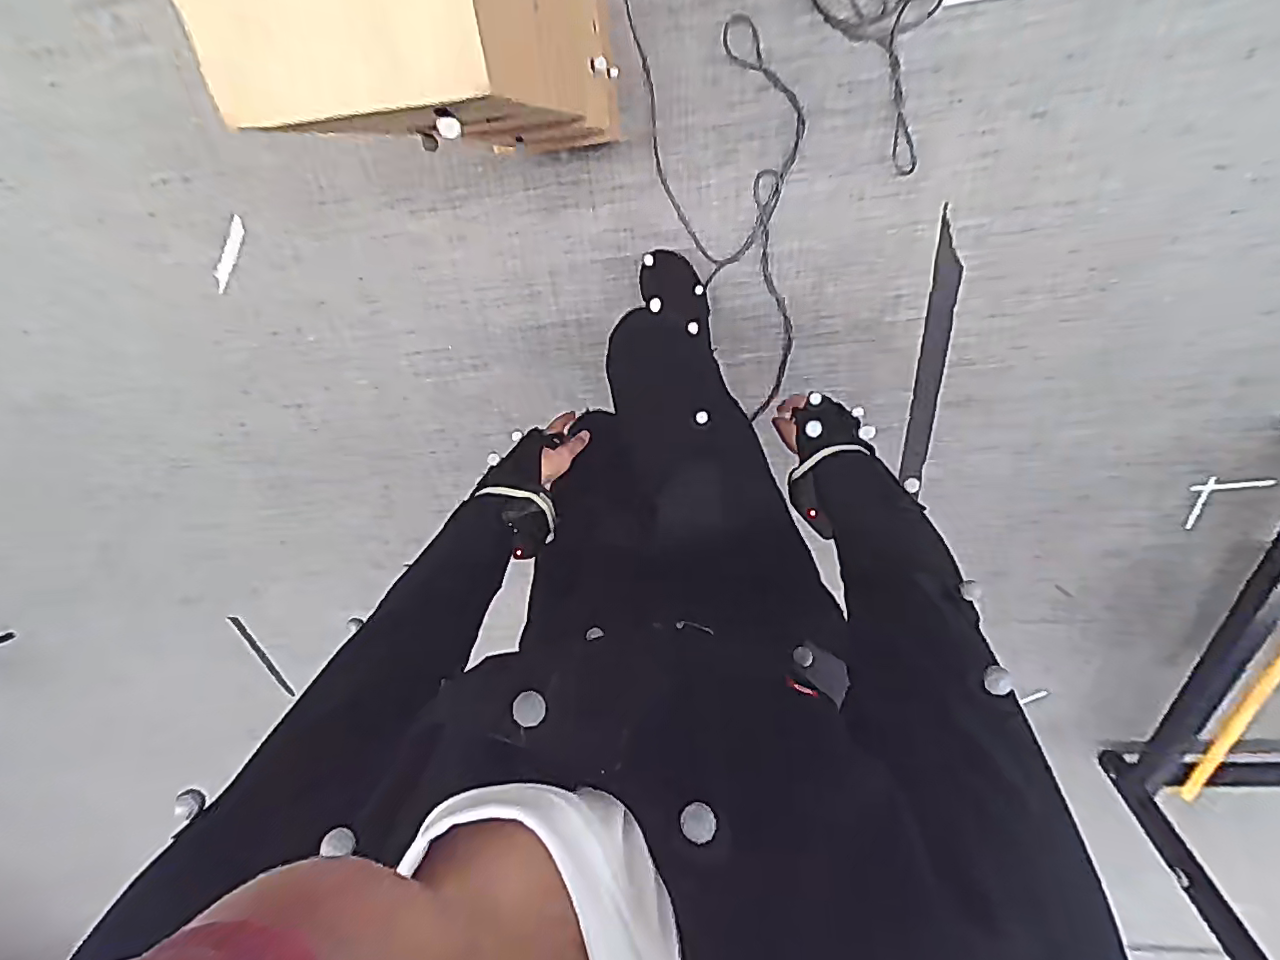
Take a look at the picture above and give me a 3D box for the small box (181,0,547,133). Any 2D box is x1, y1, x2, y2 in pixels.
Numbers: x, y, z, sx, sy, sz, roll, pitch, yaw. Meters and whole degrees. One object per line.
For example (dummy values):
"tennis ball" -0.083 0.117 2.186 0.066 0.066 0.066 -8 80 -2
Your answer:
"small box" -0.168 -0.332 0.353 0.179 0.176 0.168 -1 121 8

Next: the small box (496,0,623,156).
"small box" -0.122 -0.577 0.778 0.168 0.176 0.179 -2 123 8

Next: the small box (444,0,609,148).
"small box" -0.136 -0.499 0.636 0.179 0.176 0.168 -2 122 9
